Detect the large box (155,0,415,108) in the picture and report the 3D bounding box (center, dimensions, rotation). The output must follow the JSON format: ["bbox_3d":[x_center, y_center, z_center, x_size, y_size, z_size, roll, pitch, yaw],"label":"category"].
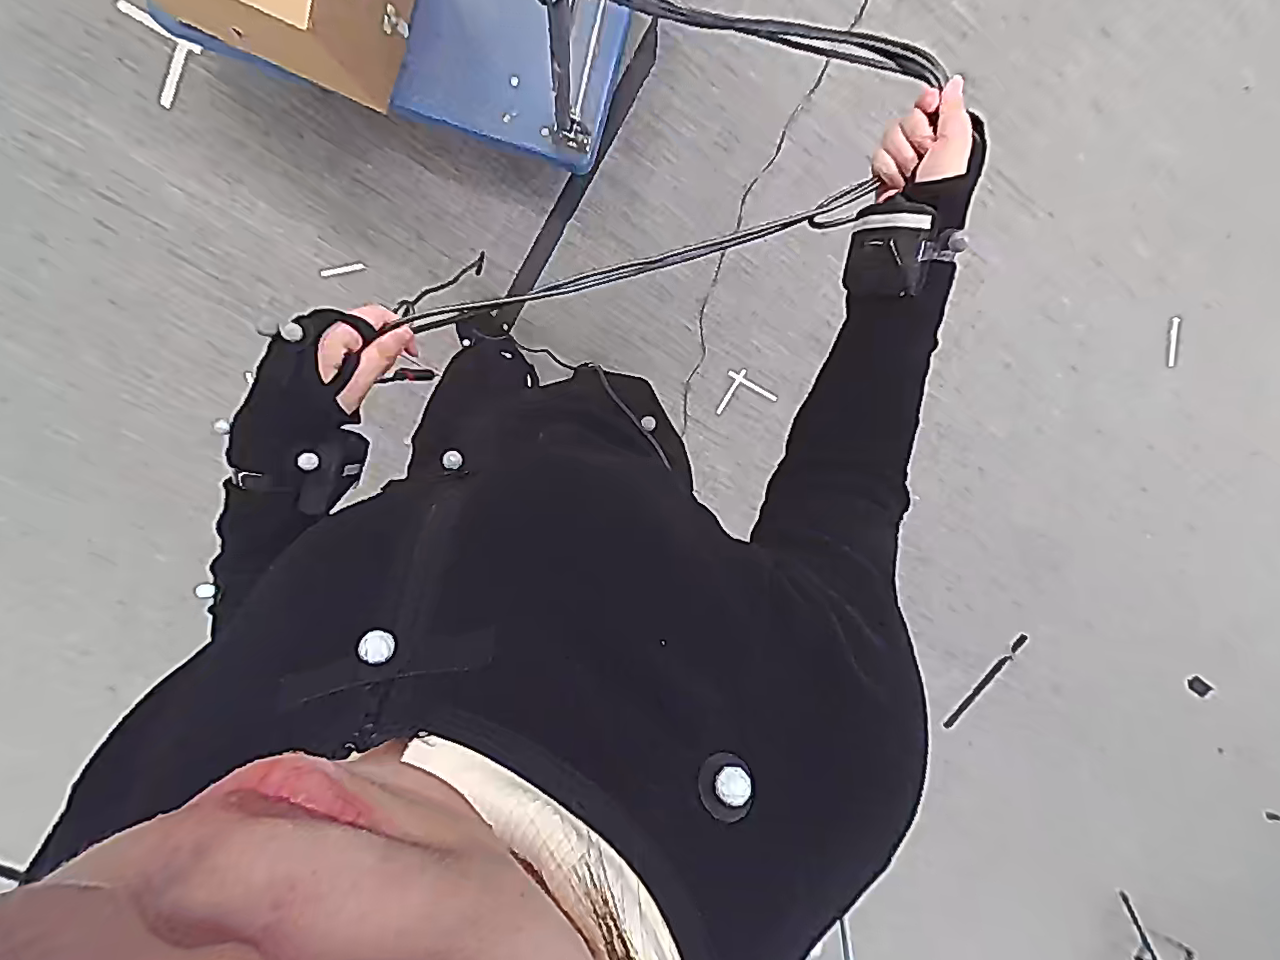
[{"bbox_3d":[-0.622,-0.899,0.874,0.408,0.320,0.320,21,102,-9],"label":"large box"}]
